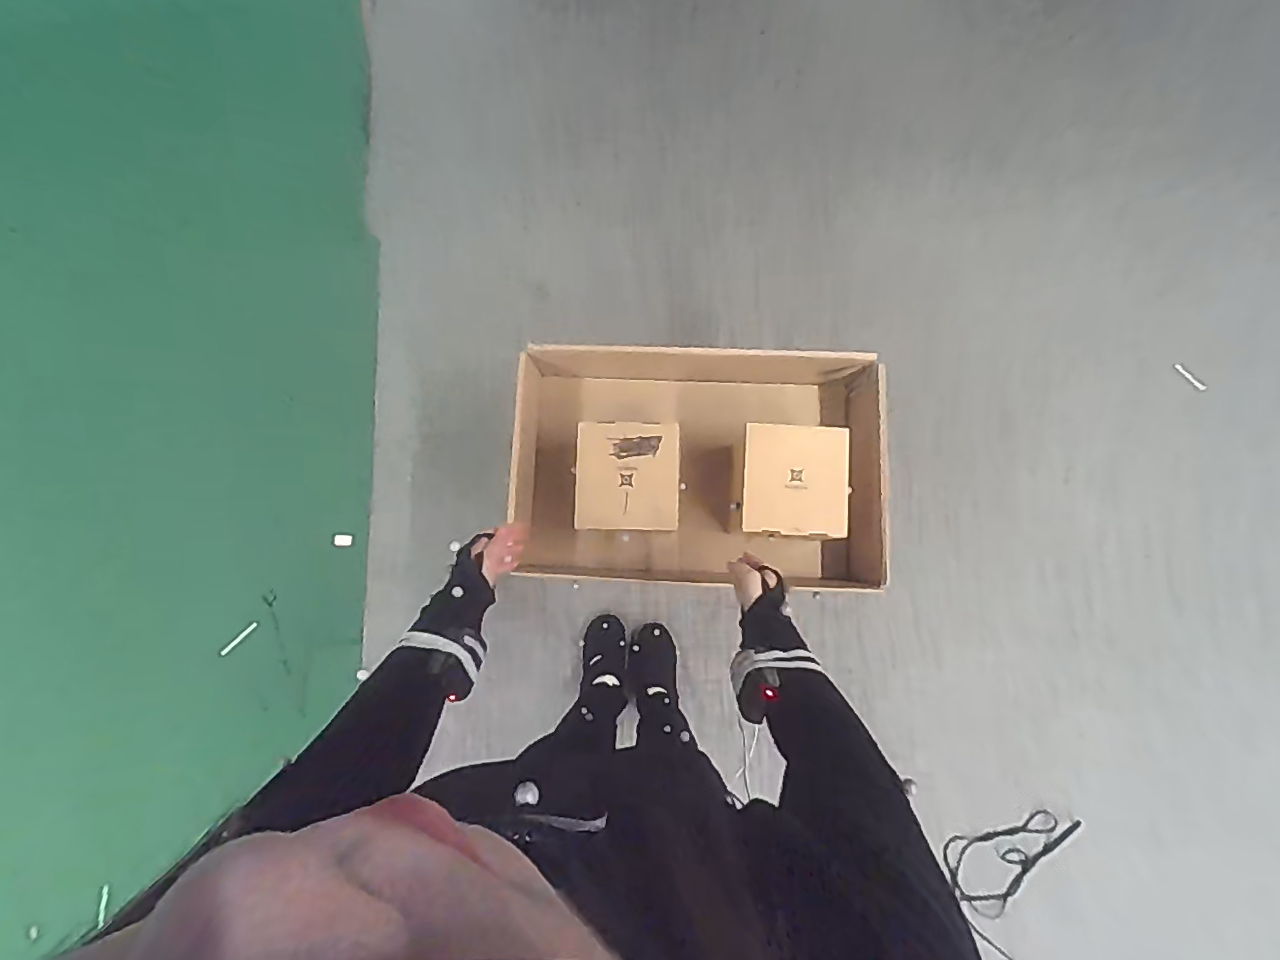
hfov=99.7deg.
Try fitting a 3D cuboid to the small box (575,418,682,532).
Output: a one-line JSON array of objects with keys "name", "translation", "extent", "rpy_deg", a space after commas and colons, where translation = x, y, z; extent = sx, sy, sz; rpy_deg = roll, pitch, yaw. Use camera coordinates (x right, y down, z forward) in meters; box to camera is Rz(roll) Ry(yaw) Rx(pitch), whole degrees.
[{"name": "small box", "translation": [-0.016, -0.003, 0.938], "extent": [0.168, 0.176, 0.179], "rpy_deg": [1, 84, 2]}]
